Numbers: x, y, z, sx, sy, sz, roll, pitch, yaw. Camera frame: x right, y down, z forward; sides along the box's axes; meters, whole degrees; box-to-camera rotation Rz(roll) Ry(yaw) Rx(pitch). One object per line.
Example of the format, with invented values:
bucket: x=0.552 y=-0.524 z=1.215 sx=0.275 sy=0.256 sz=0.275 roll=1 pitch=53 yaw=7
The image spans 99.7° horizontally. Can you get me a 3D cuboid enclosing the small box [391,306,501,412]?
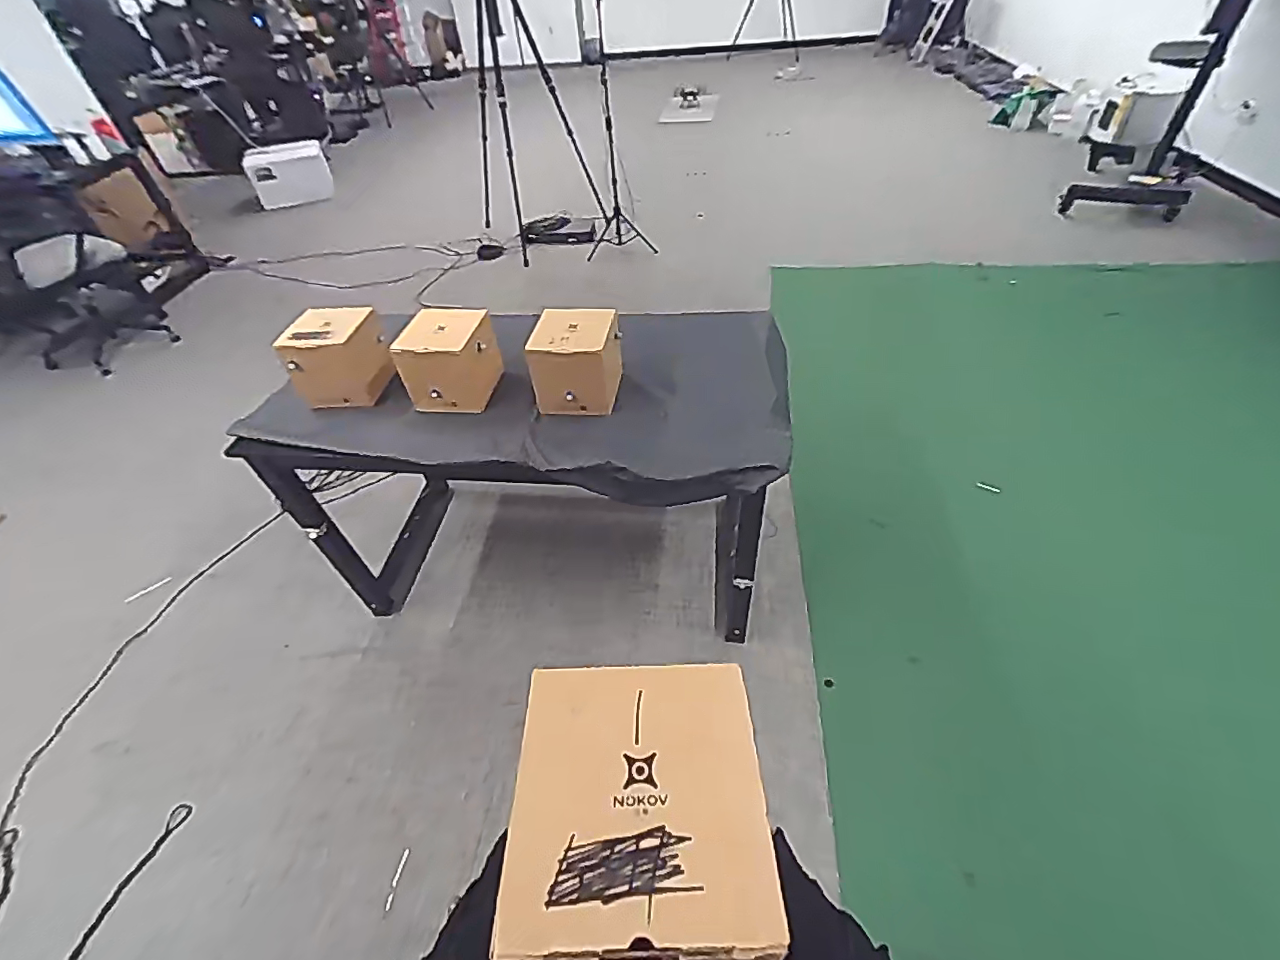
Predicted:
small box: x=-0.435 y=-0.280 z=1.249 sx=0.168 sy=0.176 sz=0.179 roll=4 pitch=47 yaw=7

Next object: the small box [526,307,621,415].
small box: x=-0.139 y=-0.267 z=1.212 sx=0.168 sy=0.176 sz=0.179 roll=3 pitch=47 yaw=8

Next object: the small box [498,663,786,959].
small box: x=0.002 y=0.264 z=0.413 sx=0.168 sy=0.176 sz=0.179 roll=-1 pitch=41 yaw=-1
